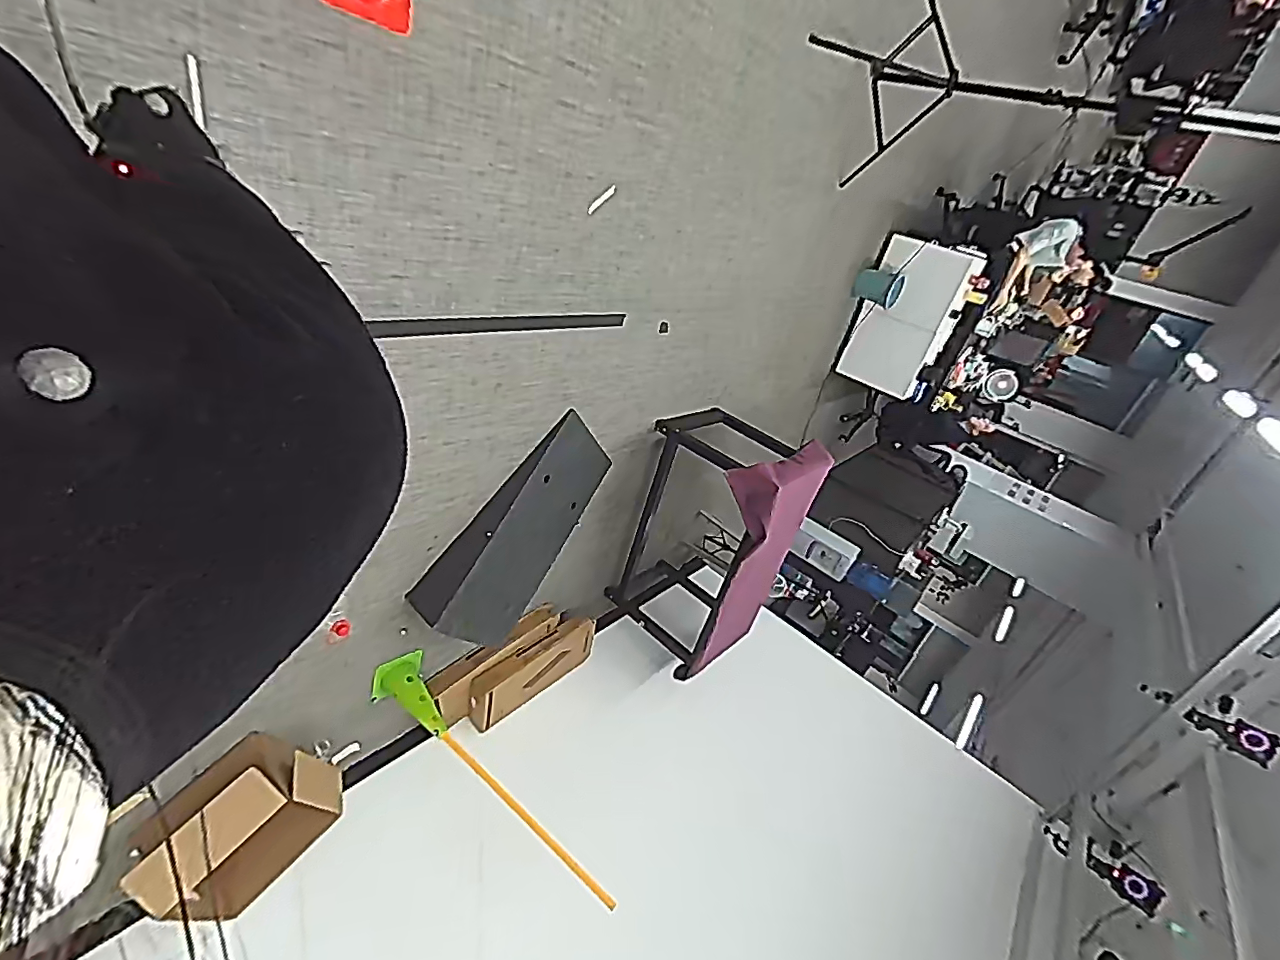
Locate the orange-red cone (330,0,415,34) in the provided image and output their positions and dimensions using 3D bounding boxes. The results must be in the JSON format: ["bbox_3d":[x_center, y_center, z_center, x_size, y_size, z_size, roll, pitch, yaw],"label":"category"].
[{"bbox_3d":[-0.412,-0.946,0.979,0.198,0.360,0.199,-15,132,-49],"label":"orange-red cone"}]
